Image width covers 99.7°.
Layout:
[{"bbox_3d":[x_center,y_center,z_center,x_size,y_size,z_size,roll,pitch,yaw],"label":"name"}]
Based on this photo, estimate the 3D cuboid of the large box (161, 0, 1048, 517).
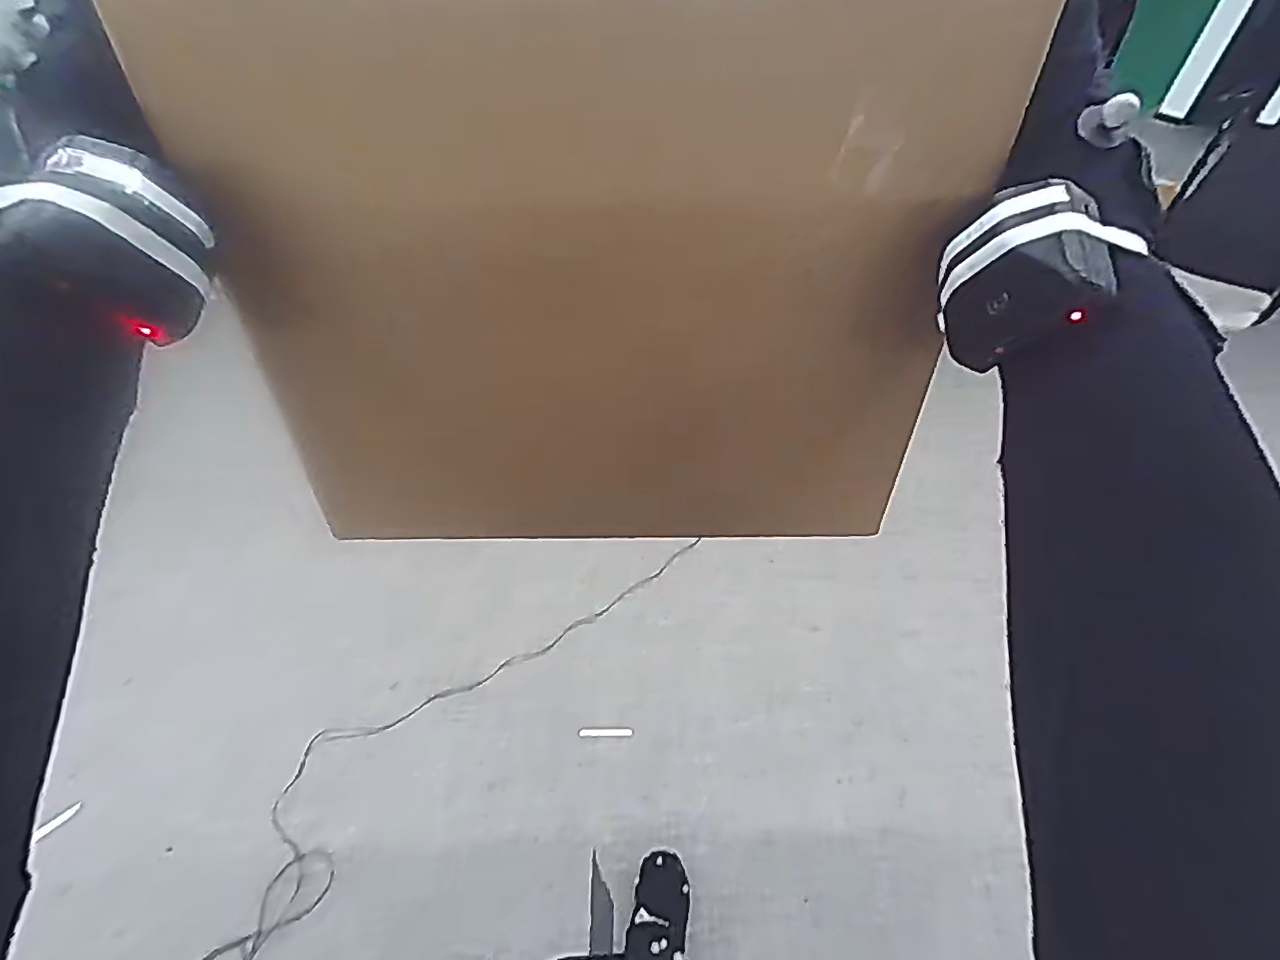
[{"bbox_3d":[-0.021,-0.179,0.439,0.408,0.320,0.320,1,36,-2],"label":"large box"}]
